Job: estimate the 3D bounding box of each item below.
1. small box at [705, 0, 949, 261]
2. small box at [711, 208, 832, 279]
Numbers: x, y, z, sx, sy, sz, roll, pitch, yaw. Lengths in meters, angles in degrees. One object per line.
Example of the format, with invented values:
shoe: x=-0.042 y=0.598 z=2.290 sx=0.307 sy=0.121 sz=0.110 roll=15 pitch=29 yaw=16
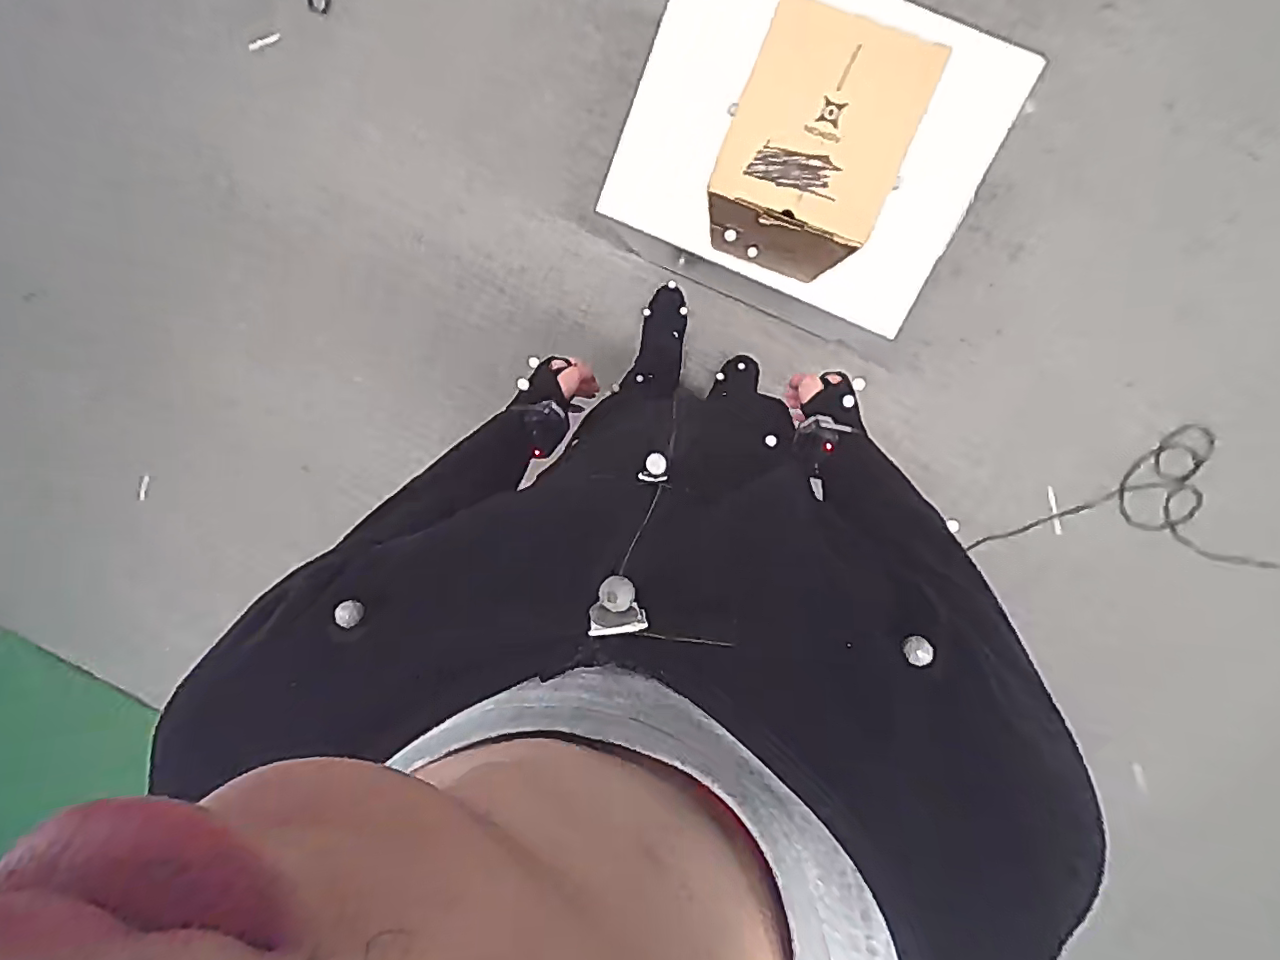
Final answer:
small box: x=0.180 y=-0.355 z=0.576 sx=0.168 sy=0.176 sz=0.179 roll=22 pitch=105 yaw=2
small box: x=0.201 y=-0.394 z=0.735 sx=0.168 sy=0.176 sz=0.179 roll=21 pitch=105 yaw=3
